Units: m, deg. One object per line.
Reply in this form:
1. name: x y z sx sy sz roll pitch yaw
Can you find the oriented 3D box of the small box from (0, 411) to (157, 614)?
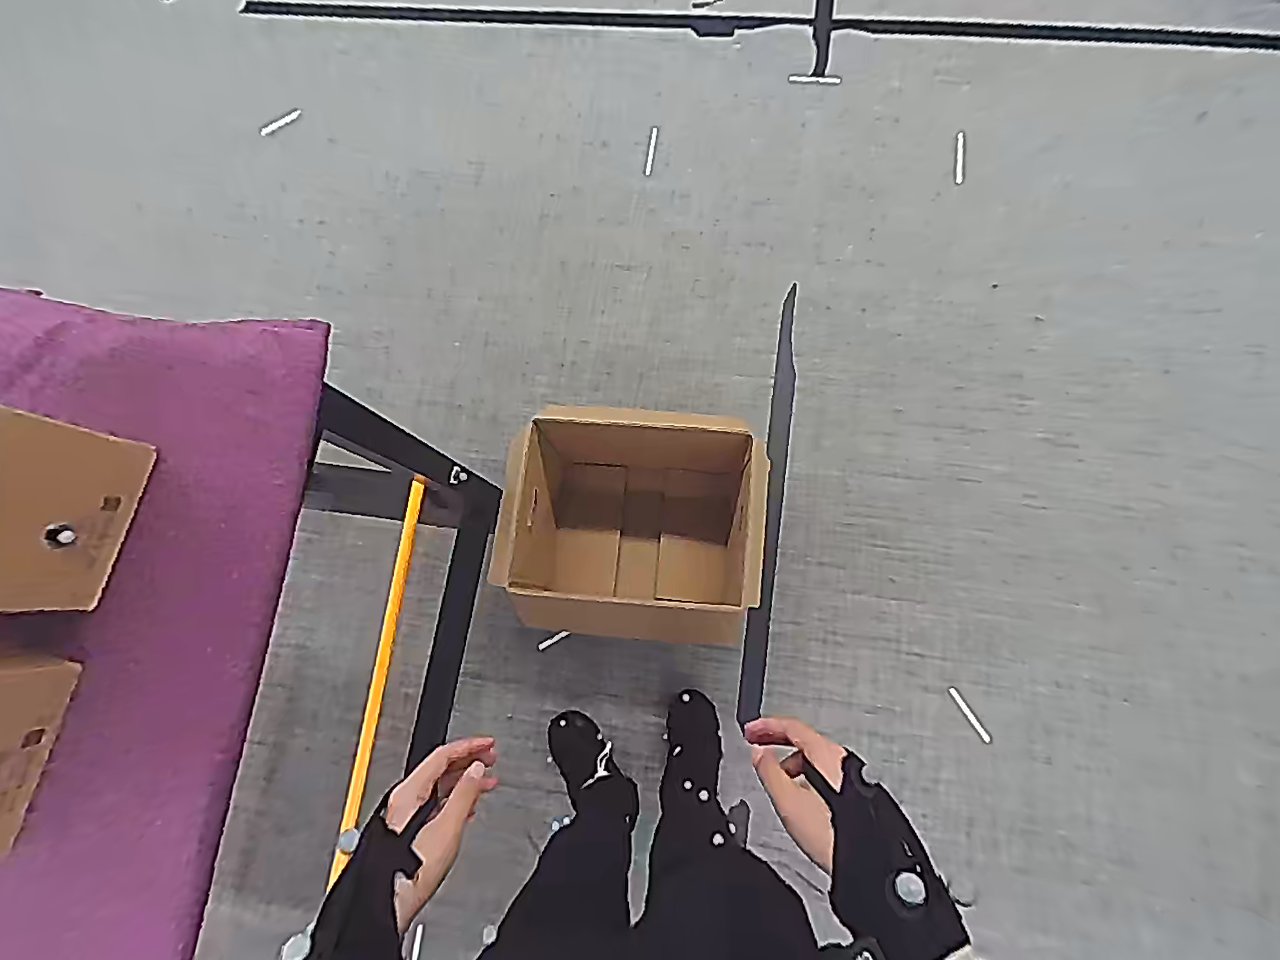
1. small box: -0.599 0.021 0.473 0.179 0.176 0.168 10 78 7
